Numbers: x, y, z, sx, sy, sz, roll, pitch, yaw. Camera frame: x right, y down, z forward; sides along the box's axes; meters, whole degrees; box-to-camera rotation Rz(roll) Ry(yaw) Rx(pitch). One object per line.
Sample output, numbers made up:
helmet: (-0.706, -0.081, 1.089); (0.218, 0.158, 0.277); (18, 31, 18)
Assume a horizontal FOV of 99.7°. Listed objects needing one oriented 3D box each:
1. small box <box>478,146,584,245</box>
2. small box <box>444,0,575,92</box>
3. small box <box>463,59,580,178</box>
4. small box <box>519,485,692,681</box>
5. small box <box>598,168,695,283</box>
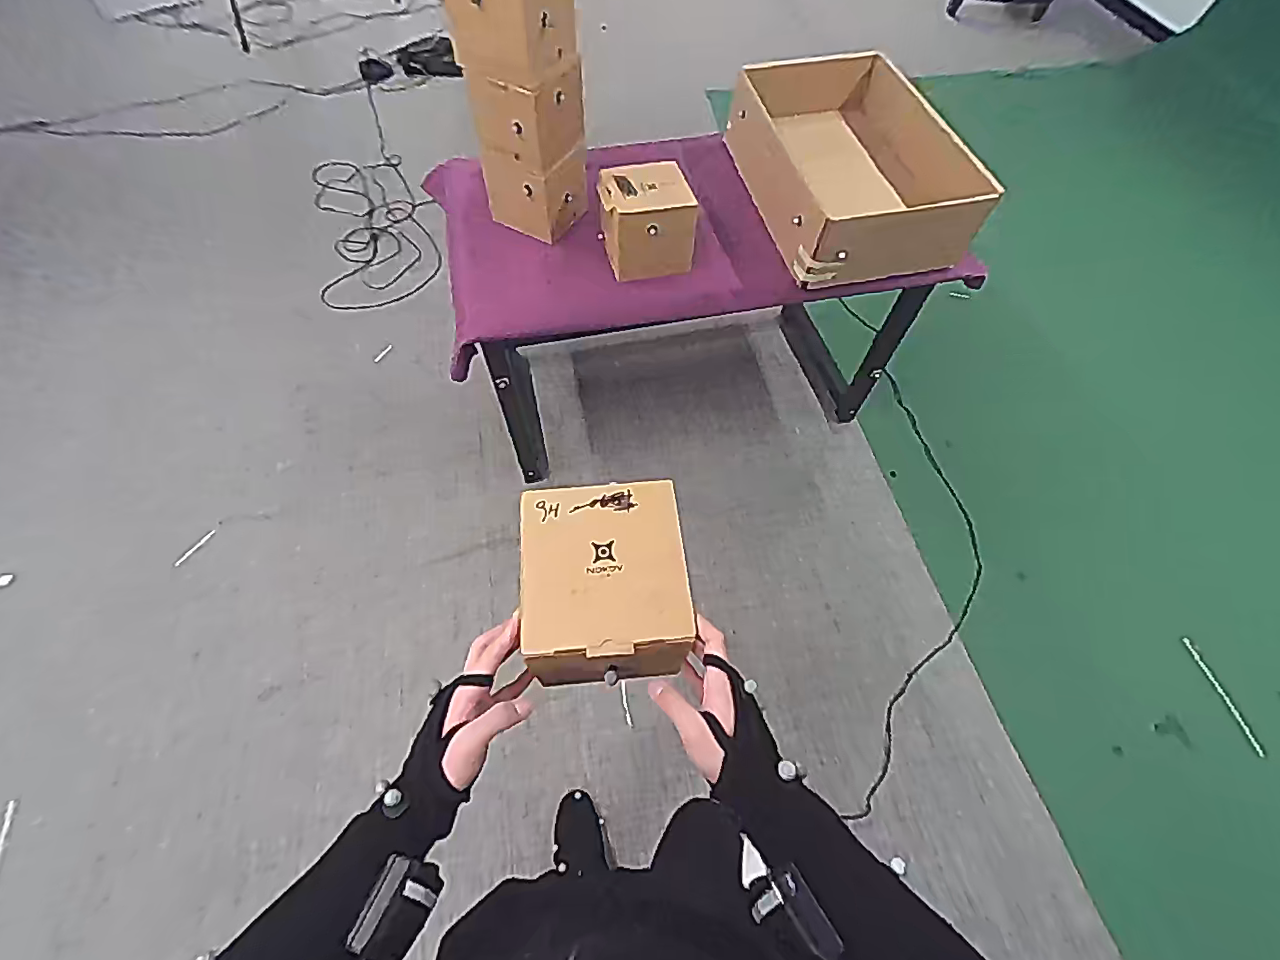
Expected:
small box: (-0.245, -0.687, 1.272); (0.179, 0.176, 0.168); (27, 62, 12)
small box: (-0.233, -0.851, 0.992); (0.179, 0.176, 0.168); (26, 63, 11)
small box: (-0.234, -0.772, 1.133); (0.168, 0.176, 0.179); (28, 63, 11)
small box: (-0.040, 0.124, 0.610); (0.168, 0.176, 0.179); (-4, 61, -5)
small box: (0.010, -0.564, 1.211); (0.179, 0.176, 0.168); (-12, 61, -9)
